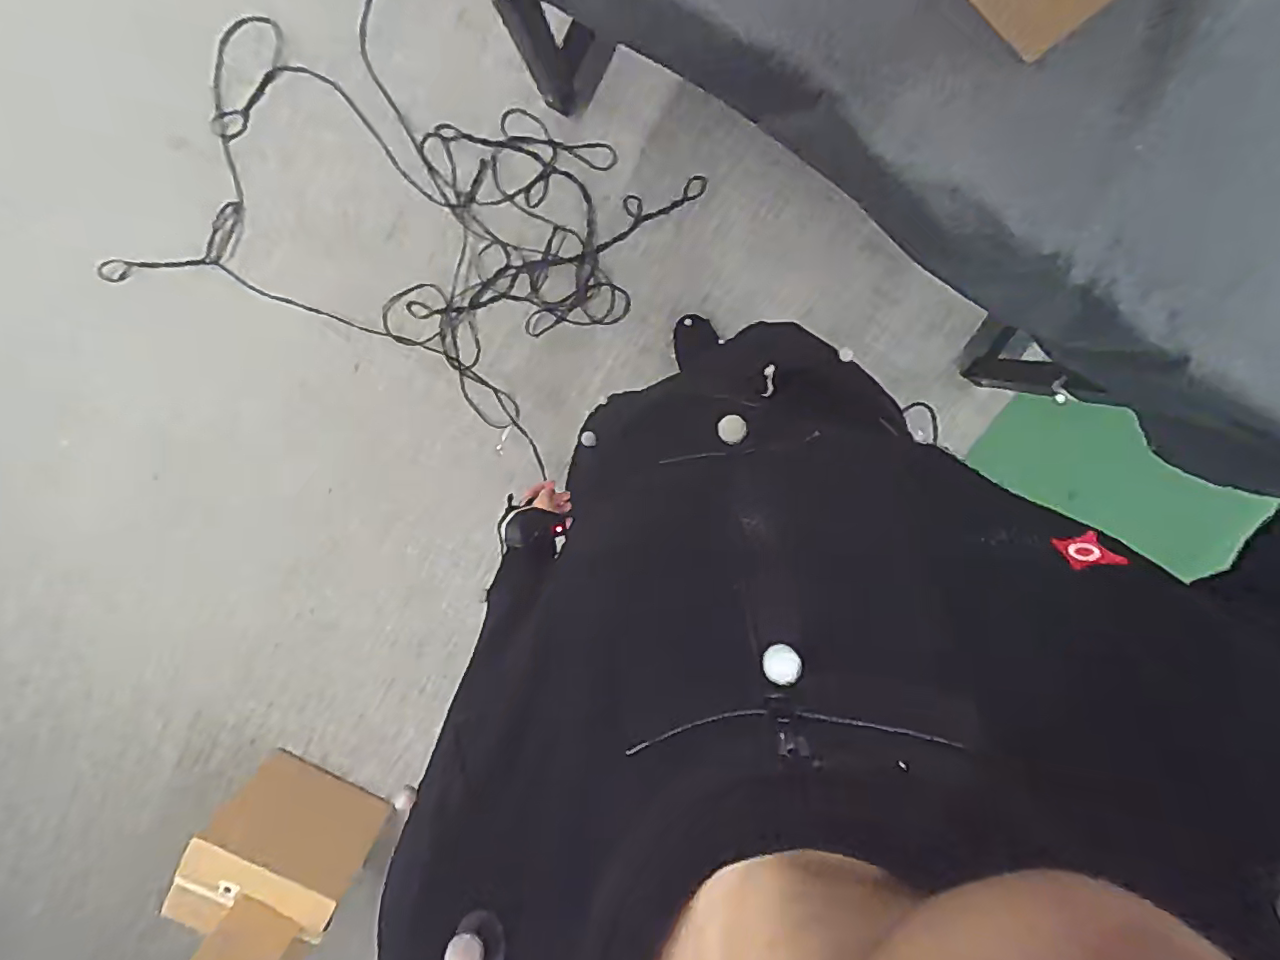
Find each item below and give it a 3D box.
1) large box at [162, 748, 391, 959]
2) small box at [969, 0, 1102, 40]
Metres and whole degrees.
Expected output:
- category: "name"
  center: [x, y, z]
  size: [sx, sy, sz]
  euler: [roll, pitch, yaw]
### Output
- category: "large box"
  center: [-1.020, 1.069, 1.558]
  size: [0.408, 0.320, 0.320]
  euler: [30, 104, -4]
- category: "small box"
  center: [0.338, -0.477, 0.392]
  size: [0.179, 0.176, 0.168]
  euler: [39, 102, -7]
